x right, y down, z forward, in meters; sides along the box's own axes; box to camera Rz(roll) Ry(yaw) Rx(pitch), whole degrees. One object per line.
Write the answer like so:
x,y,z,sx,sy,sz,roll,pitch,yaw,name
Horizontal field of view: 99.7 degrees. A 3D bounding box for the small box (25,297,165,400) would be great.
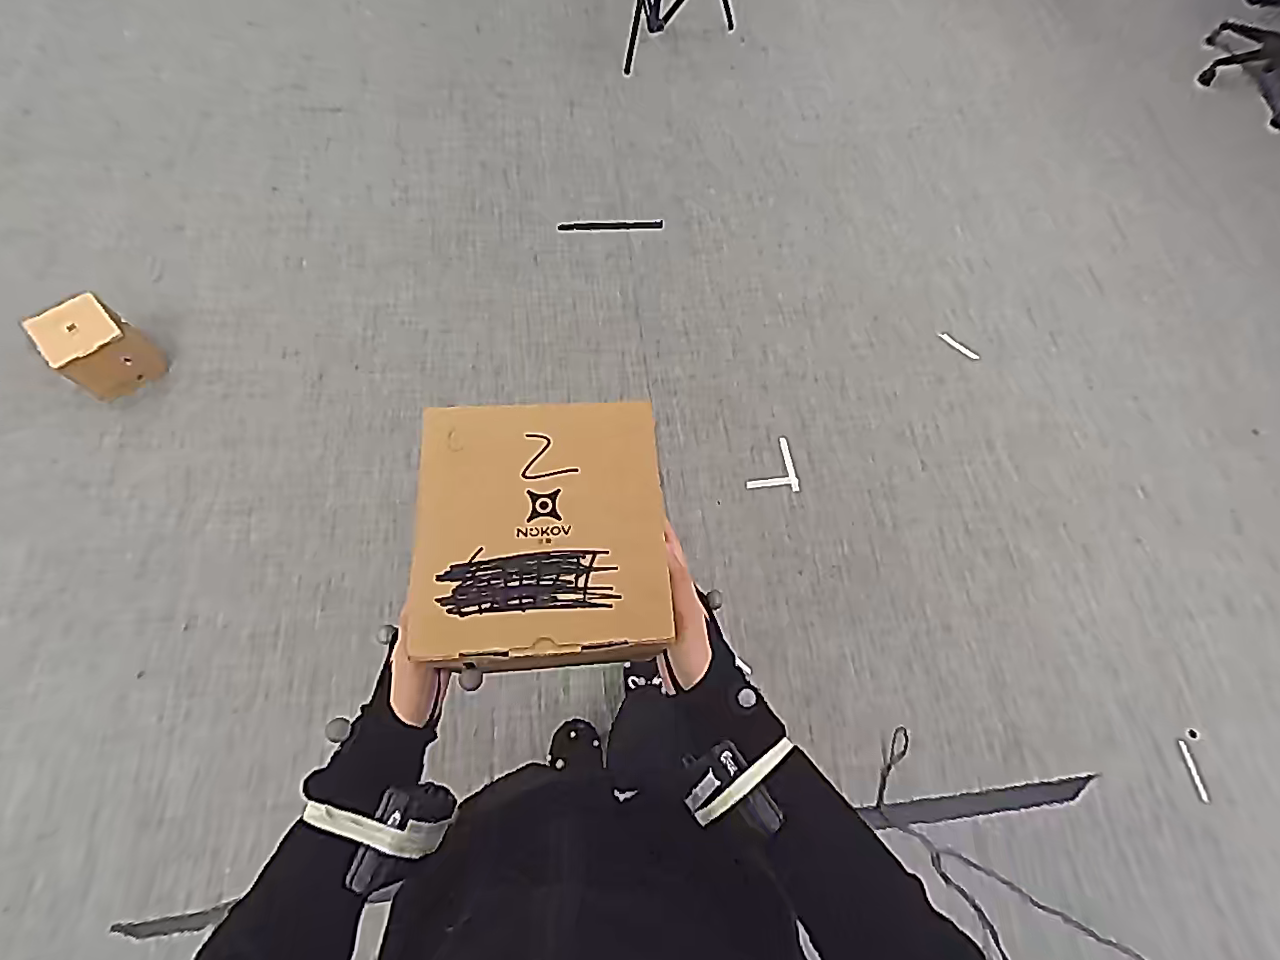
-1.428,-0.337,1.432,0.168,0.176,0.179,-41,77,-20,small box
